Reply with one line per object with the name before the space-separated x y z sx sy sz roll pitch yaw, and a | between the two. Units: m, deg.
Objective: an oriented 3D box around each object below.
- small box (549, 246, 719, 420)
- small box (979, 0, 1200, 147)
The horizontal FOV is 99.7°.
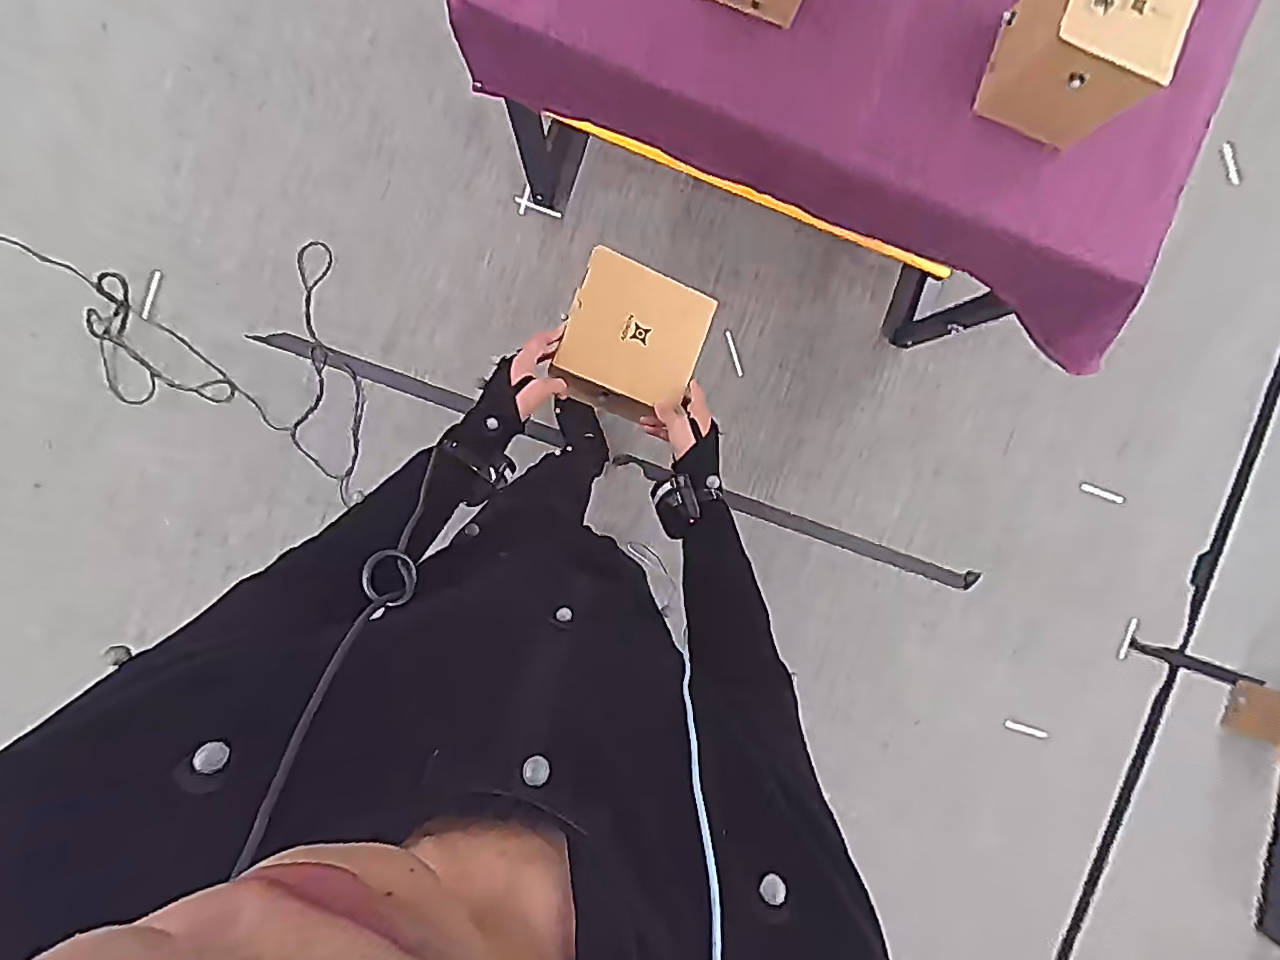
small box | -0.018 -0.191 0.766 0.179 0.176 0.168 21 87 -11
small box | 0.653 -0.637 0.801 0.179 0.176 0.168 19 92 -6
